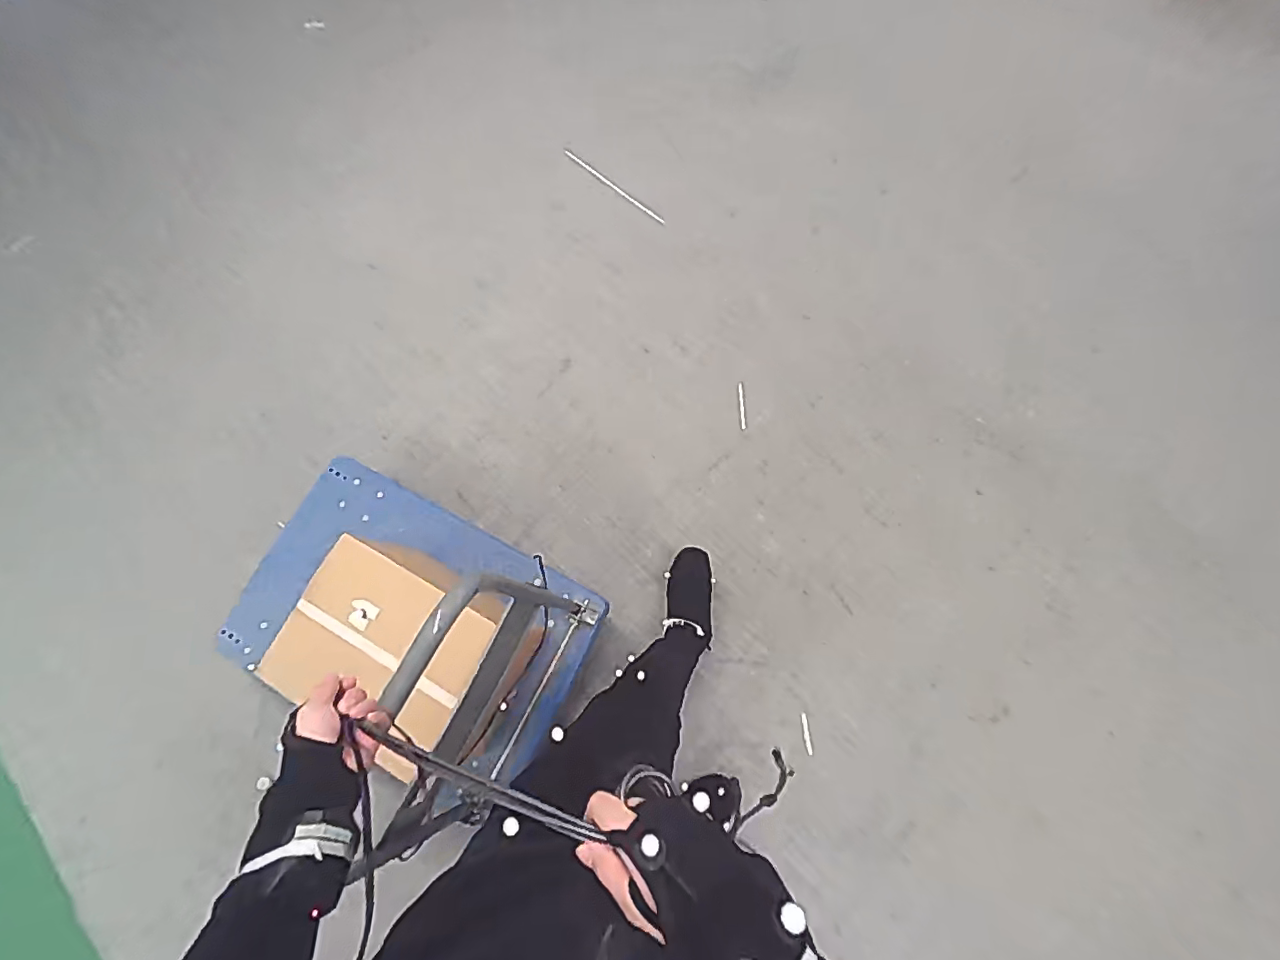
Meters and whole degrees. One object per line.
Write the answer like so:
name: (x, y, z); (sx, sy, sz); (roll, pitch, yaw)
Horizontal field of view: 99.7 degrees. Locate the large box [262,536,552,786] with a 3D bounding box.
large box: (-0.462, 0.363, 1.156); (0.408, 0.320, 0.320); (27, 79, 13)
